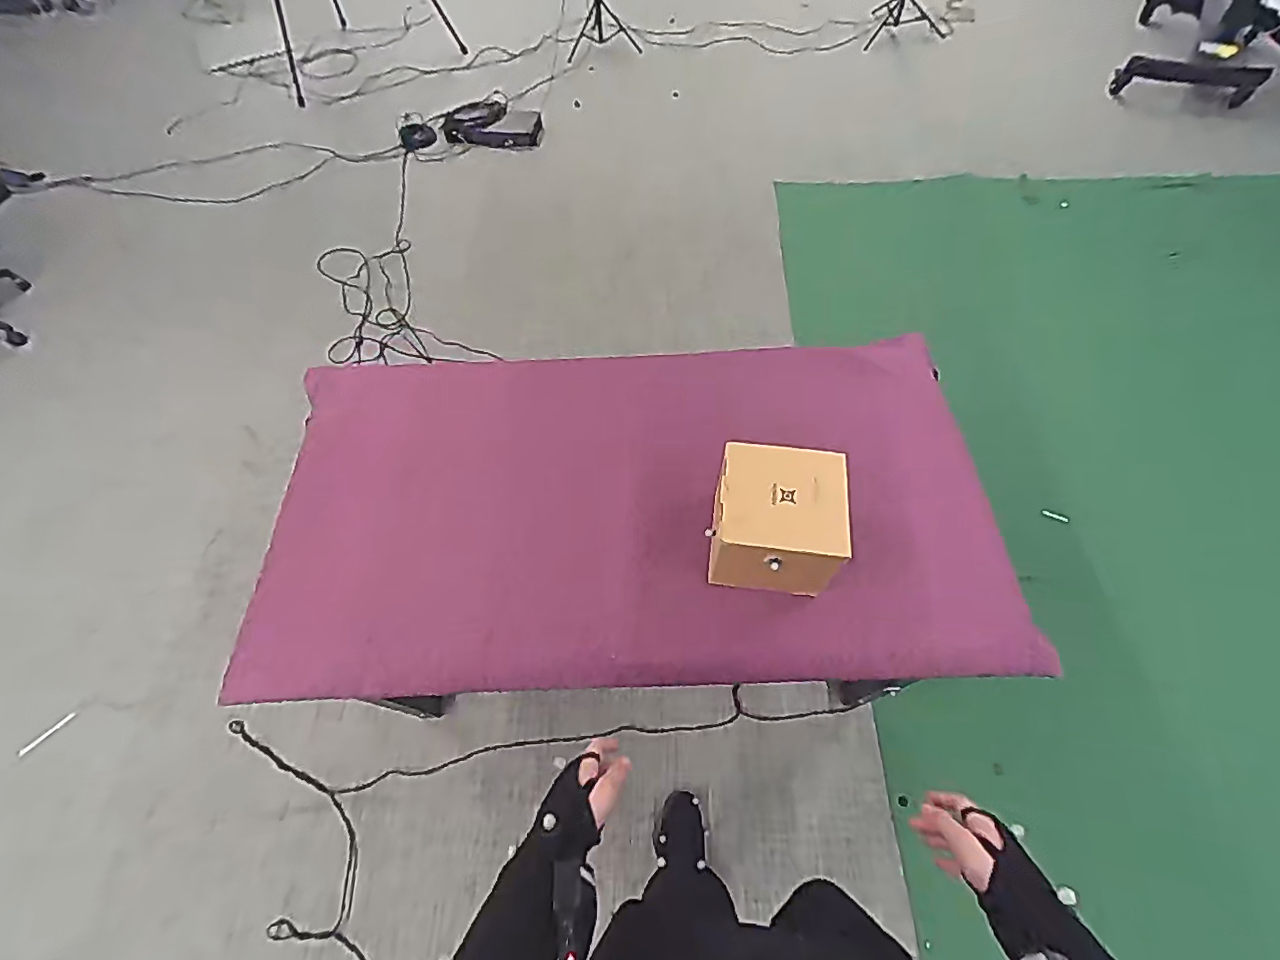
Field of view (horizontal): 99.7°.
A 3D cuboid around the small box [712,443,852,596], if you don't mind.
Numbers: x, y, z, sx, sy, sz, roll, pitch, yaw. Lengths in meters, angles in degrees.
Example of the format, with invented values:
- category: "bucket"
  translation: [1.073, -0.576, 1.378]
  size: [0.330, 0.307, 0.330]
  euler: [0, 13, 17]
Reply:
- category: "small box"
  translation: [0.206, 0.065, 0.817]
  size: [0.179, 0.176, 0.168]
  euler: [7, 61, 6]
